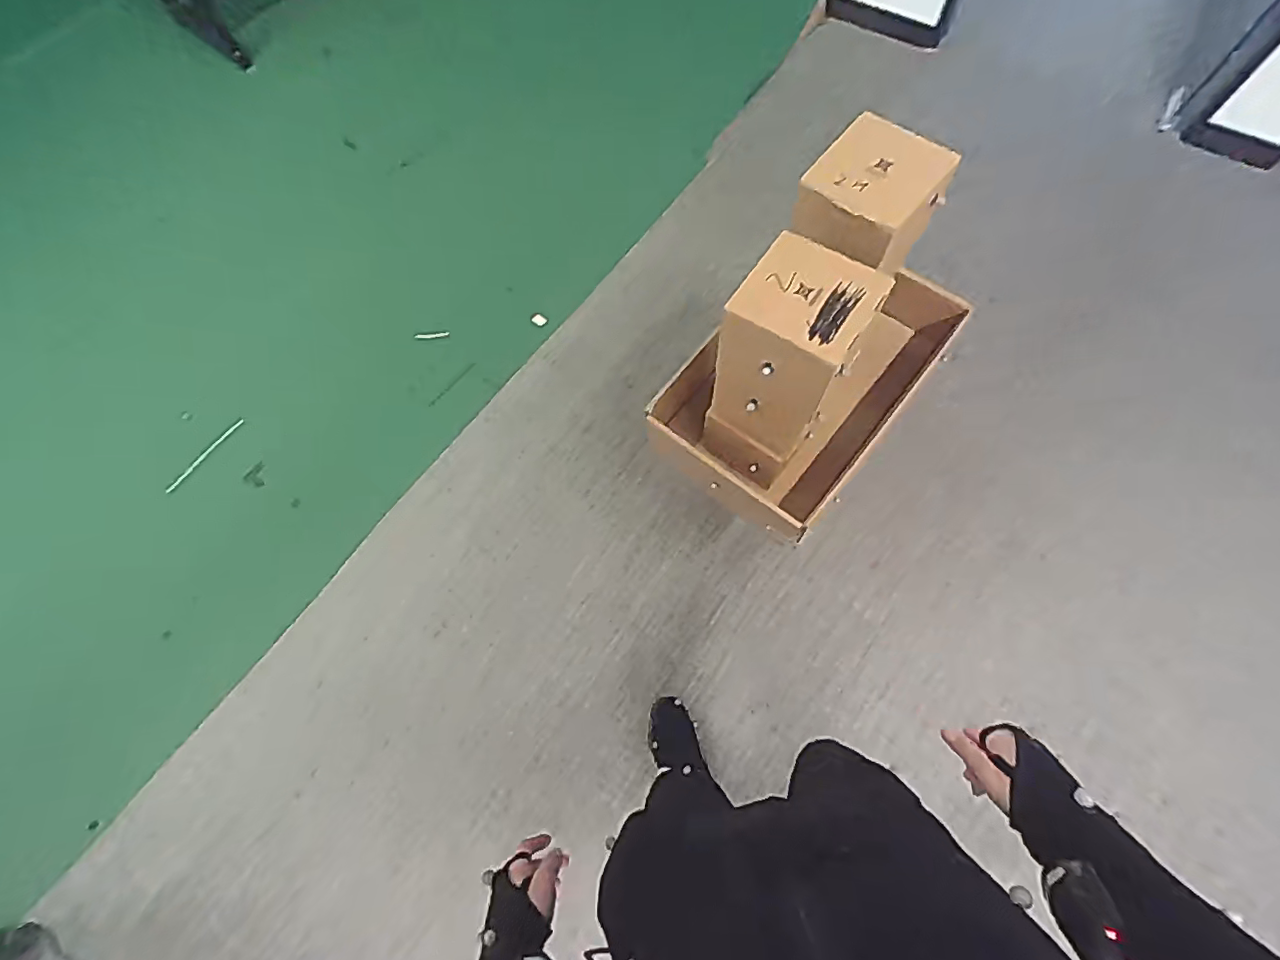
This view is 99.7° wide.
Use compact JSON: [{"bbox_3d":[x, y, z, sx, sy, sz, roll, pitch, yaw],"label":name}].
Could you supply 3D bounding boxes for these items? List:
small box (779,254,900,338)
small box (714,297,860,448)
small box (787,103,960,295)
[{"bbox_3d":[0.378,-0.400,1.020,0.168,0.176,0.179,31,78,14],"label":"small box"},{"bbox_3d":[0.248,-0.178,0.956,0.179,0.176,0.168,35,76,16],"label":"small box"},{"bbox_3d":[0.354,-0.438,0.859,0.168,0.176,0.179,39,80,16],"label":"small box"}]
